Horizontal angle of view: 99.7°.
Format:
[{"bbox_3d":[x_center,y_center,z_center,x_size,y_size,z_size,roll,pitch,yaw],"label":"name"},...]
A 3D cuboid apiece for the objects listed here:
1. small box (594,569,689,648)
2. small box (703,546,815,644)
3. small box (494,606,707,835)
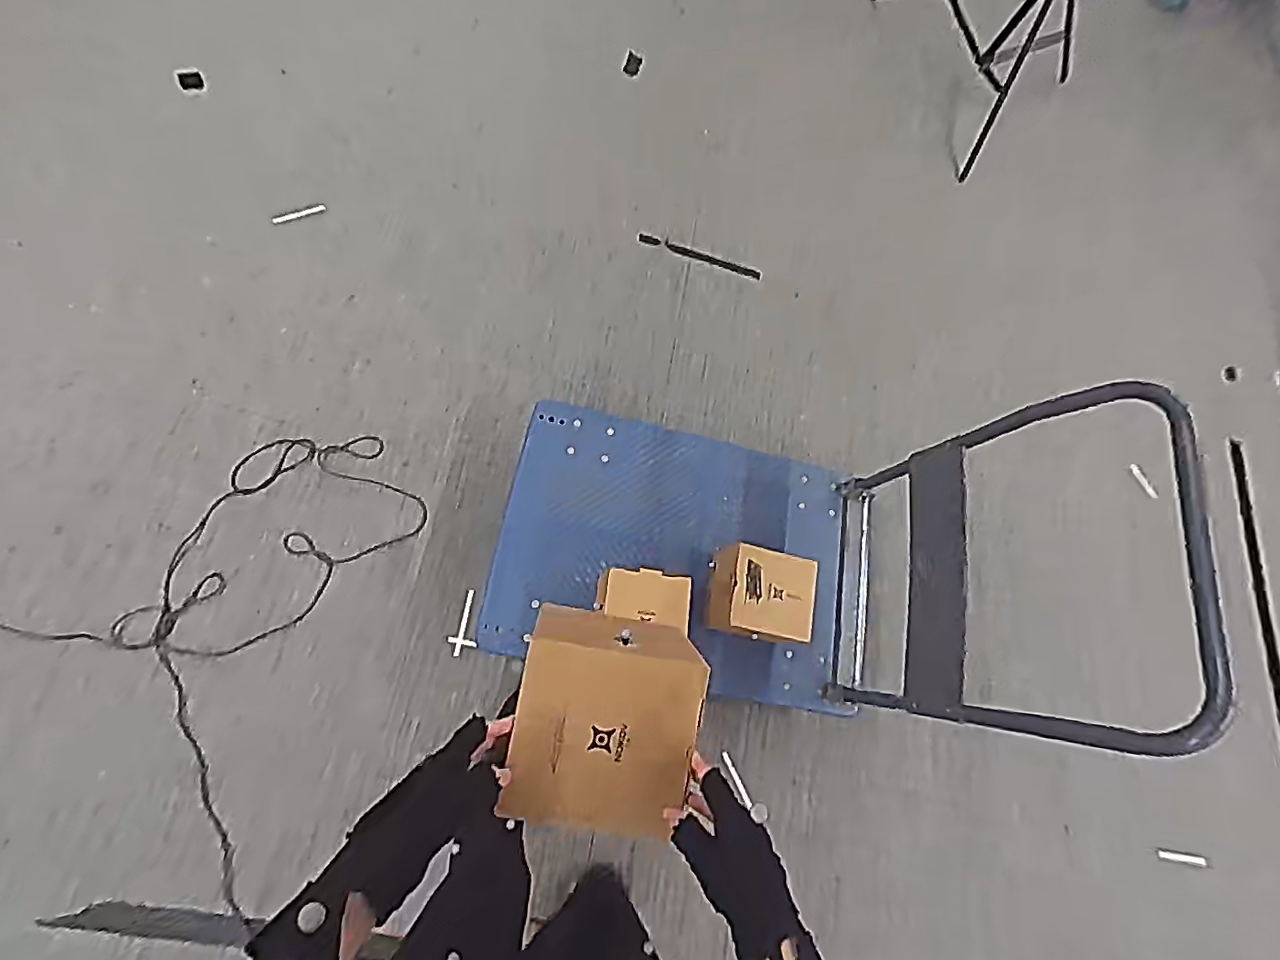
[{"bbox_3d":[-0.007,0.289,1.095,0.168,0.176,0.179,9,71,-9],"label":"small box"},{"bbox_3d":[0.248,0.253,1.158,0.179,0.176,0.168,15,71,-7],"label":"small box"},{"bbox_3d":[-0.044,0.244,0.588,0.179,0.176,0.168,12,86,-6],"label":"small box"}]
